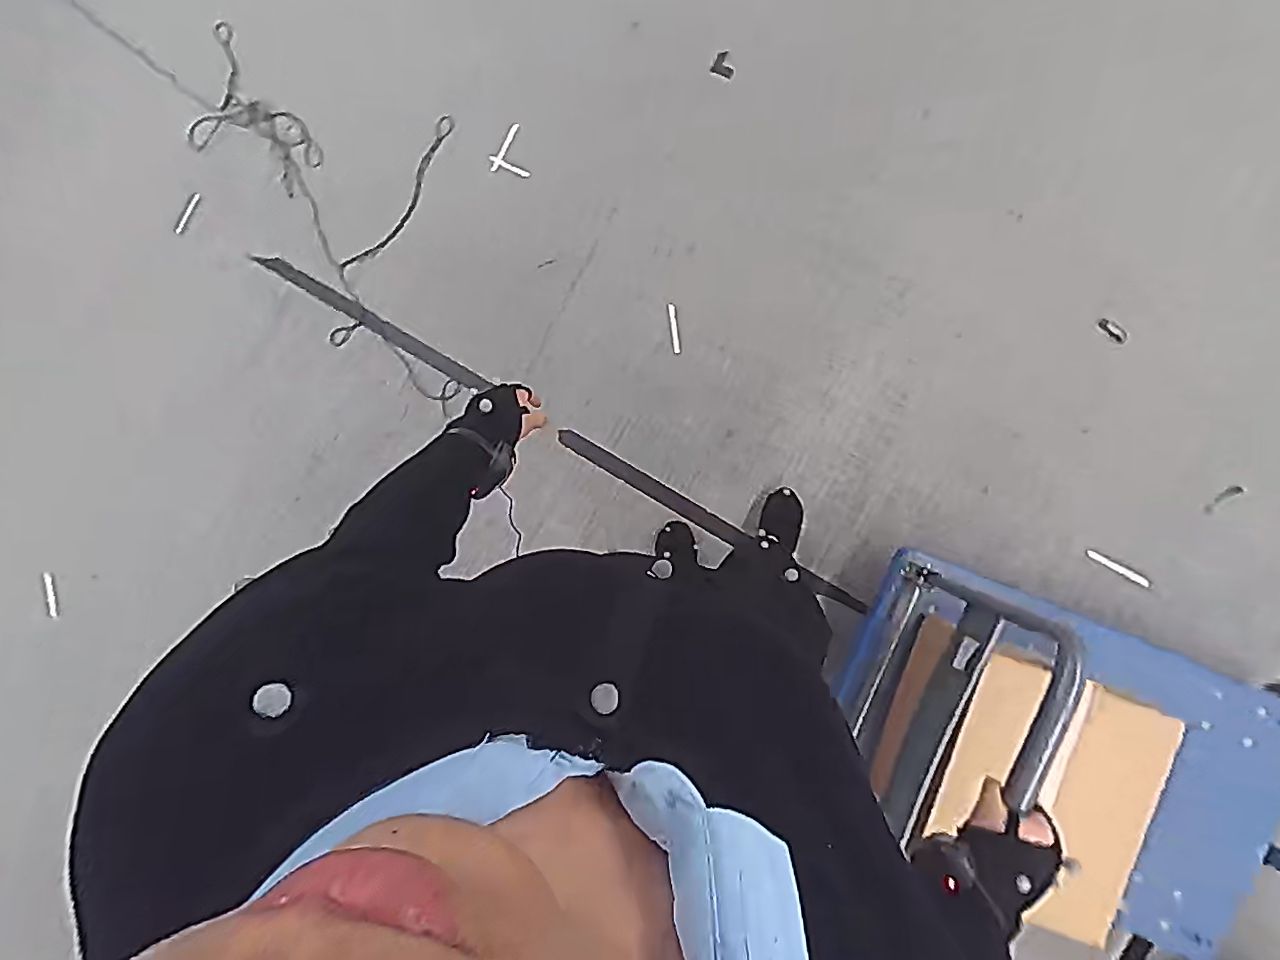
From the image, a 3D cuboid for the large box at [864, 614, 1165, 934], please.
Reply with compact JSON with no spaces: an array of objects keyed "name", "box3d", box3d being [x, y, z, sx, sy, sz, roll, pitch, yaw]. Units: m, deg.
[{"name":"large box","box3d":[0.693,0.532,1.070,0.320,0.320,0.408,19,92,10]}]
